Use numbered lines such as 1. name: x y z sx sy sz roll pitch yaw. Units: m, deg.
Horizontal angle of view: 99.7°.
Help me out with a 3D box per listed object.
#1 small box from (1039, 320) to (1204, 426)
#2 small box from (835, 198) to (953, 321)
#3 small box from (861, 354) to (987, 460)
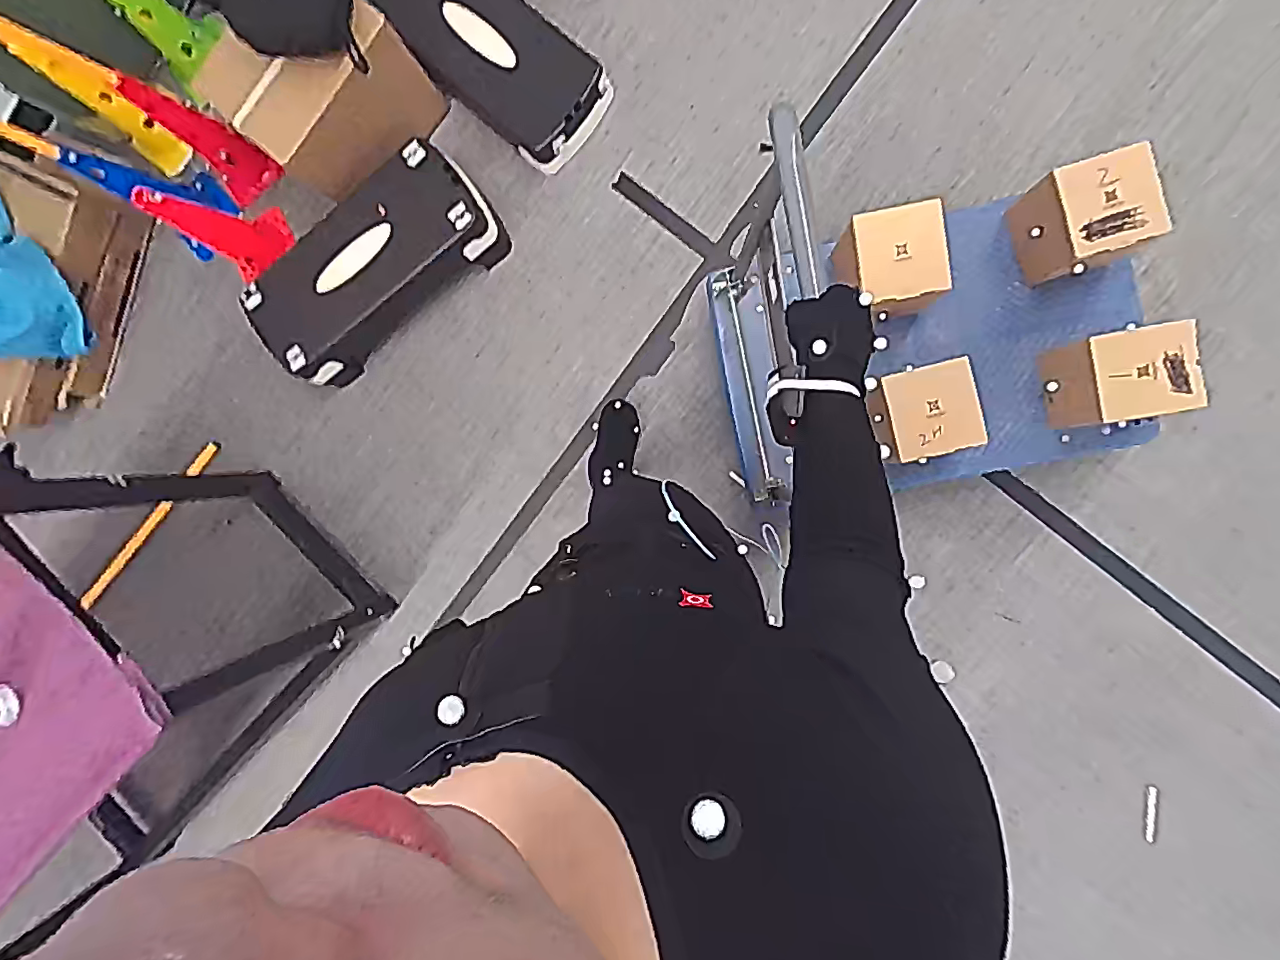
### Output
1. small box: 0.943 -0.205 1.074 0.179 0.176 0.168 -9 91 9
2. small box: 0.515 -0.446 1.118 0.168 0.176 0.179 -8 93 7
3. small box: 0.578 -0.143 1.123 0.168 0.176 0.179 -13 91 8
